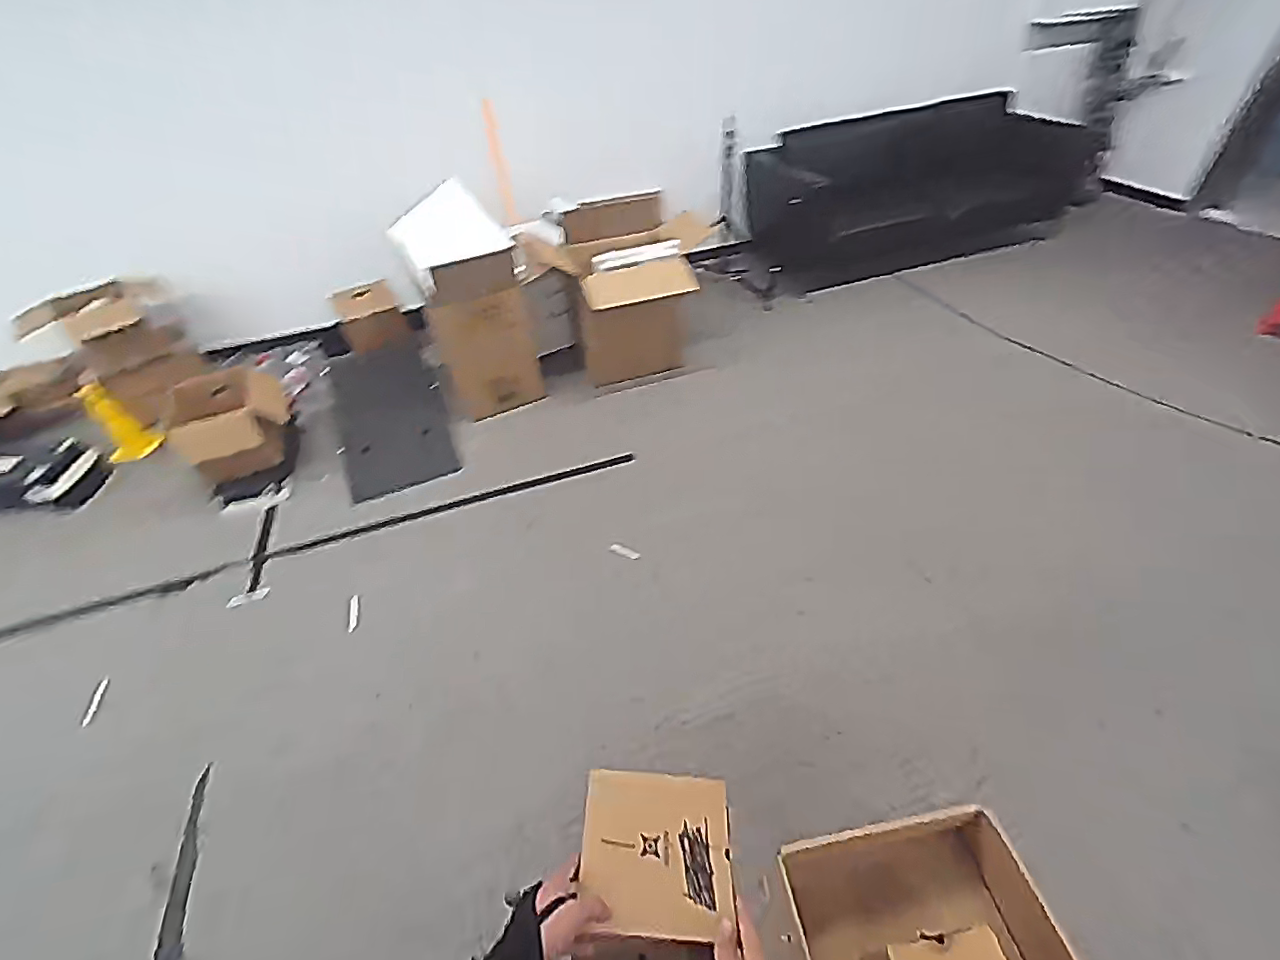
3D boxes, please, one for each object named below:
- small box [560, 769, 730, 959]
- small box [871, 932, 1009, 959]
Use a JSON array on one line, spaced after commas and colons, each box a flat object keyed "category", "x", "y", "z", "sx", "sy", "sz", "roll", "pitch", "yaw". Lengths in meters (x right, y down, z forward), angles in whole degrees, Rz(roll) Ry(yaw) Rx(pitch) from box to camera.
[{"category": "small box", "x": 0.002, "y": 0.481, "z": 0.658, "sx": 0.179, "sy": 0.176, "sz": 0.168, "roll": 5, "pitch": 37, "yaw": -1}, {"category": "small box", "x": 0.457, "y": 0.790, "z": 0.783, "sx": 0.168, "sy": 0.176, "sz": 0.179, "roll": -8, "pitch": 44, "yaw": -4}]
